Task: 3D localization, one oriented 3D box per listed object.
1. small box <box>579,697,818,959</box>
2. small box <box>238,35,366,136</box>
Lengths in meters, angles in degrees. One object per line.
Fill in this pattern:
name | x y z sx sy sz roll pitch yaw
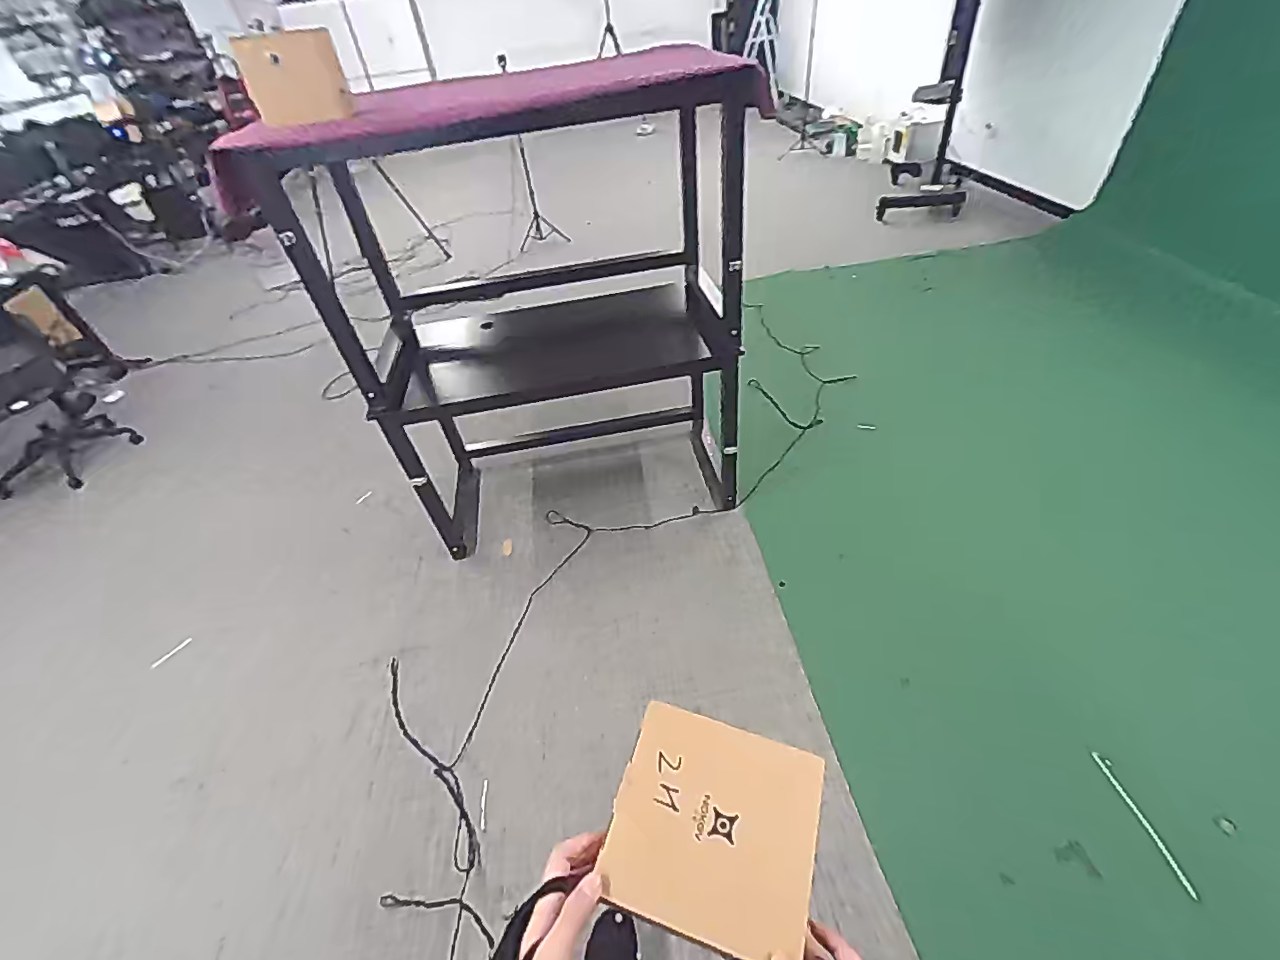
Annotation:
small box | 0.060 0.346 0.532 0.179 0.176 0.168 13 50 14
small box | -0.777 -0.921 1.264 0.179 0.176 0.168 -11 42 -5
